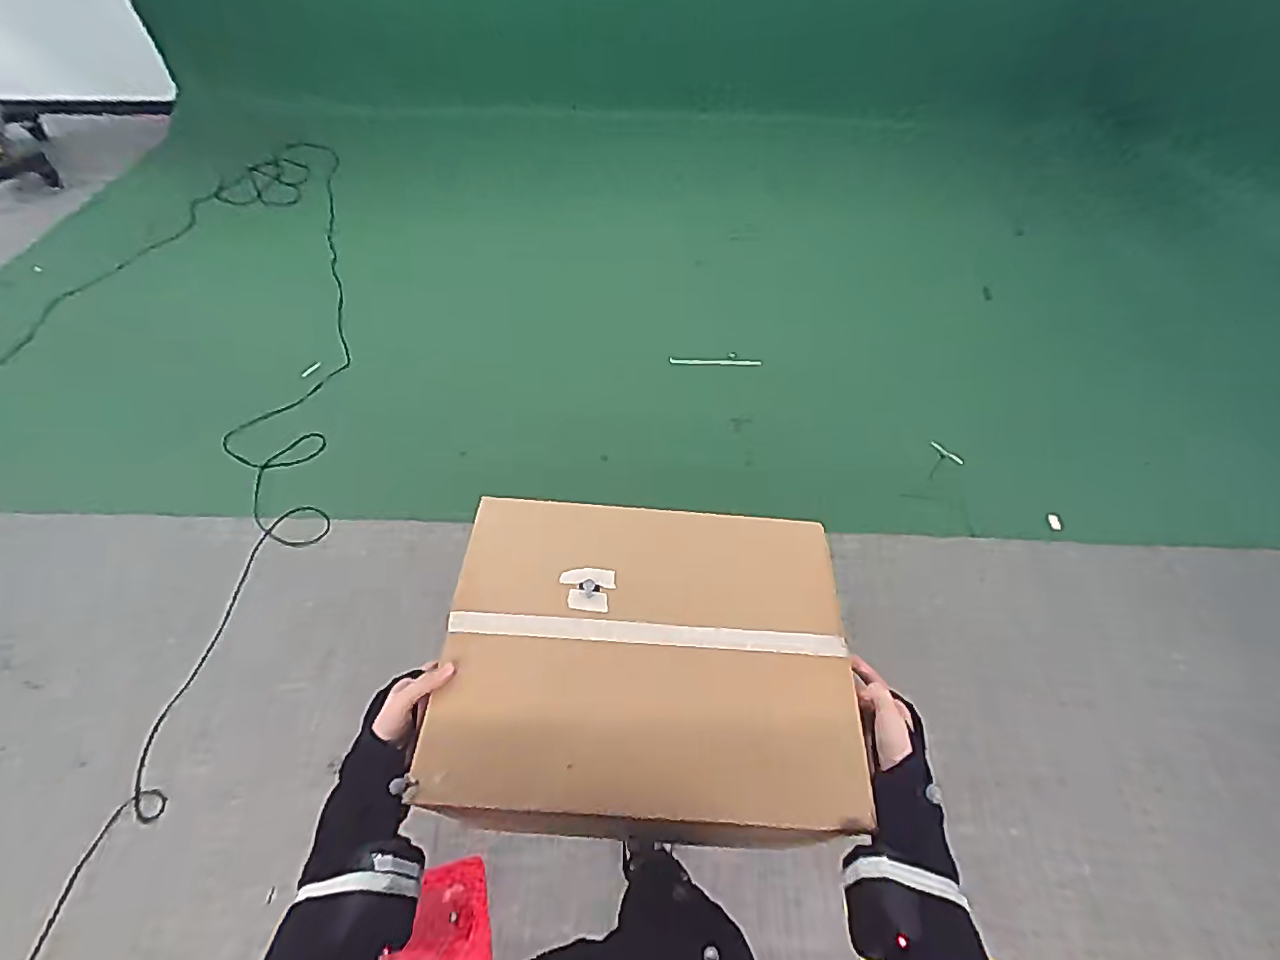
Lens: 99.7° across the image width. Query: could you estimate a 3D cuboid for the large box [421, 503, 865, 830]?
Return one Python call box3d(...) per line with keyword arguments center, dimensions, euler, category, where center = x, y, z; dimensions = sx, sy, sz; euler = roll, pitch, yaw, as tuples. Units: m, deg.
box3d(center=(0.004, 0.248, 0.684), dimensions=(0.408, 0.320, 0.320), euler=(4, 53, 0), category="large box")
